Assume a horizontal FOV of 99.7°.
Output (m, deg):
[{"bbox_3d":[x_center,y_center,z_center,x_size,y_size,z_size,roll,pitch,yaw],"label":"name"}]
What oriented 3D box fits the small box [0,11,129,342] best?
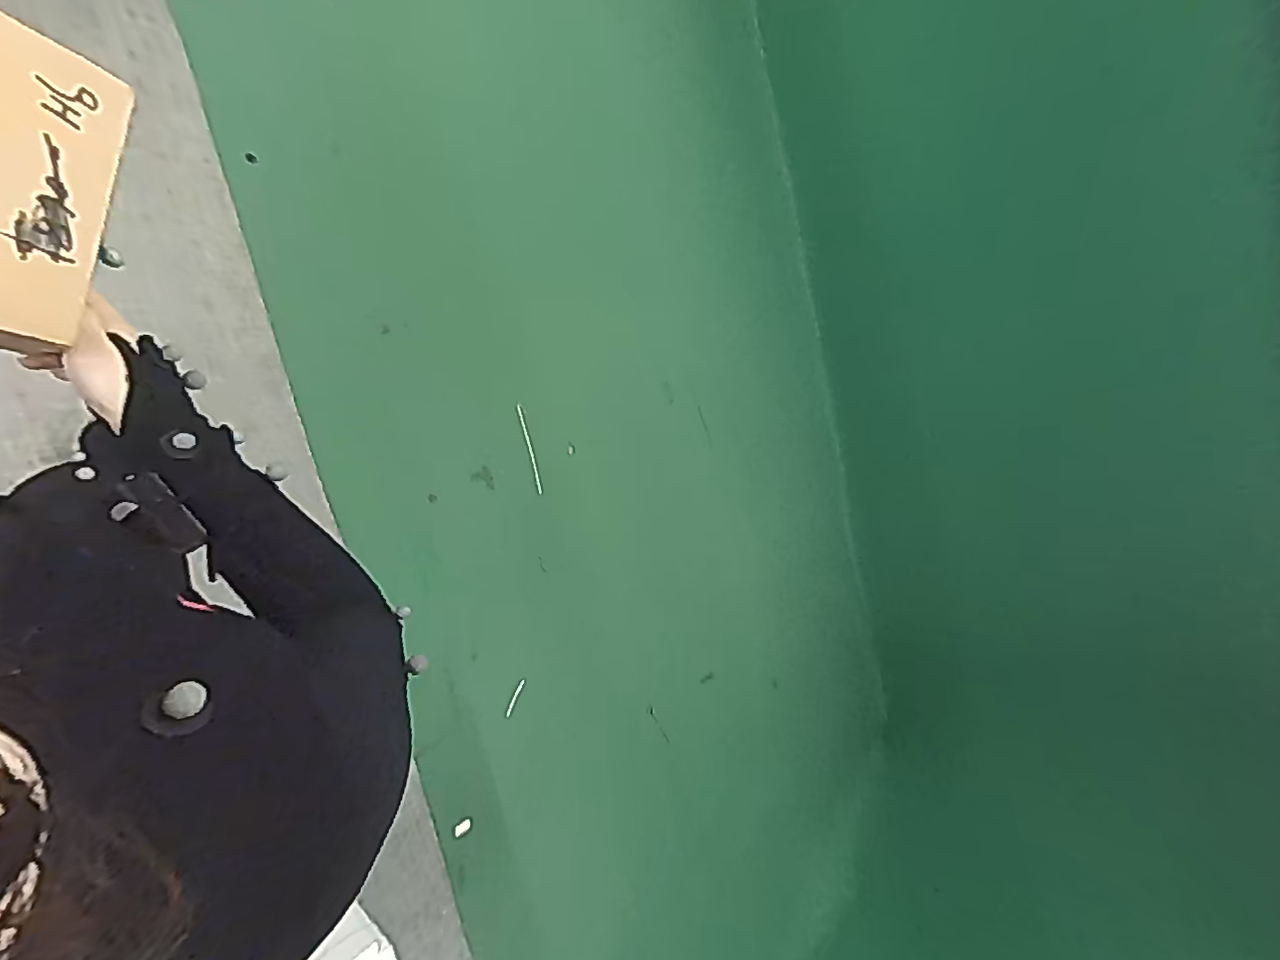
[{"bbox_3d":[-0.439,-0.184,0.305,0.179,0.176,0.168,14,85,-53],"label":"small box"}]
